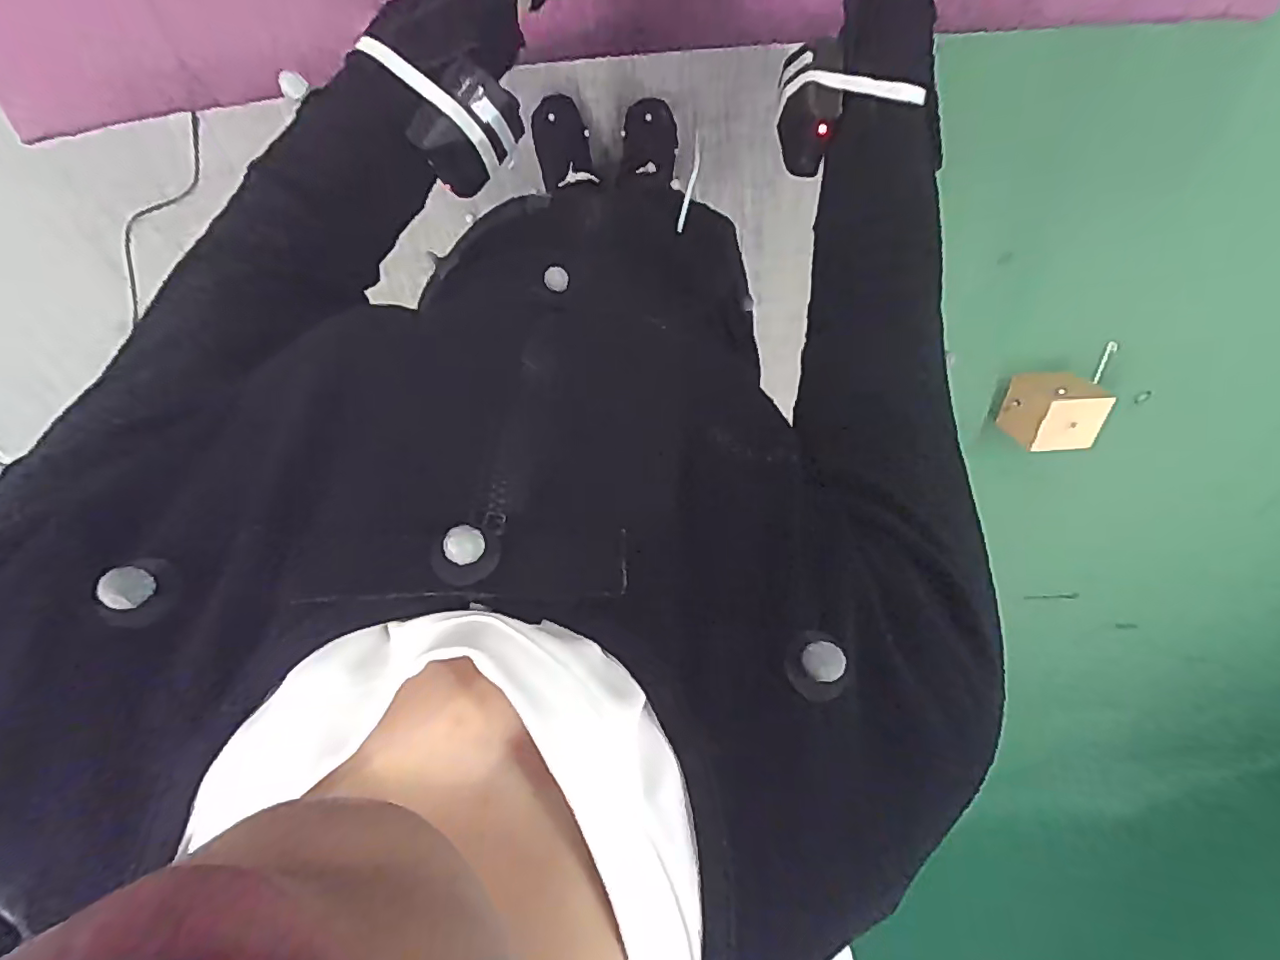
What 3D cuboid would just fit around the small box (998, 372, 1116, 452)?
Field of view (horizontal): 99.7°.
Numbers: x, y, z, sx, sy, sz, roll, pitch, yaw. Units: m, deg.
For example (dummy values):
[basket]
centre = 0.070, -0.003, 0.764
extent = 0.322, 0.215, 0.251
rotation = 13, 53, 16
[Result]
[small box]
centre = 1.181, -0.198, 1.548
extent = 0.179, 0.176, 0.168
rotation = -3, 127, 0
